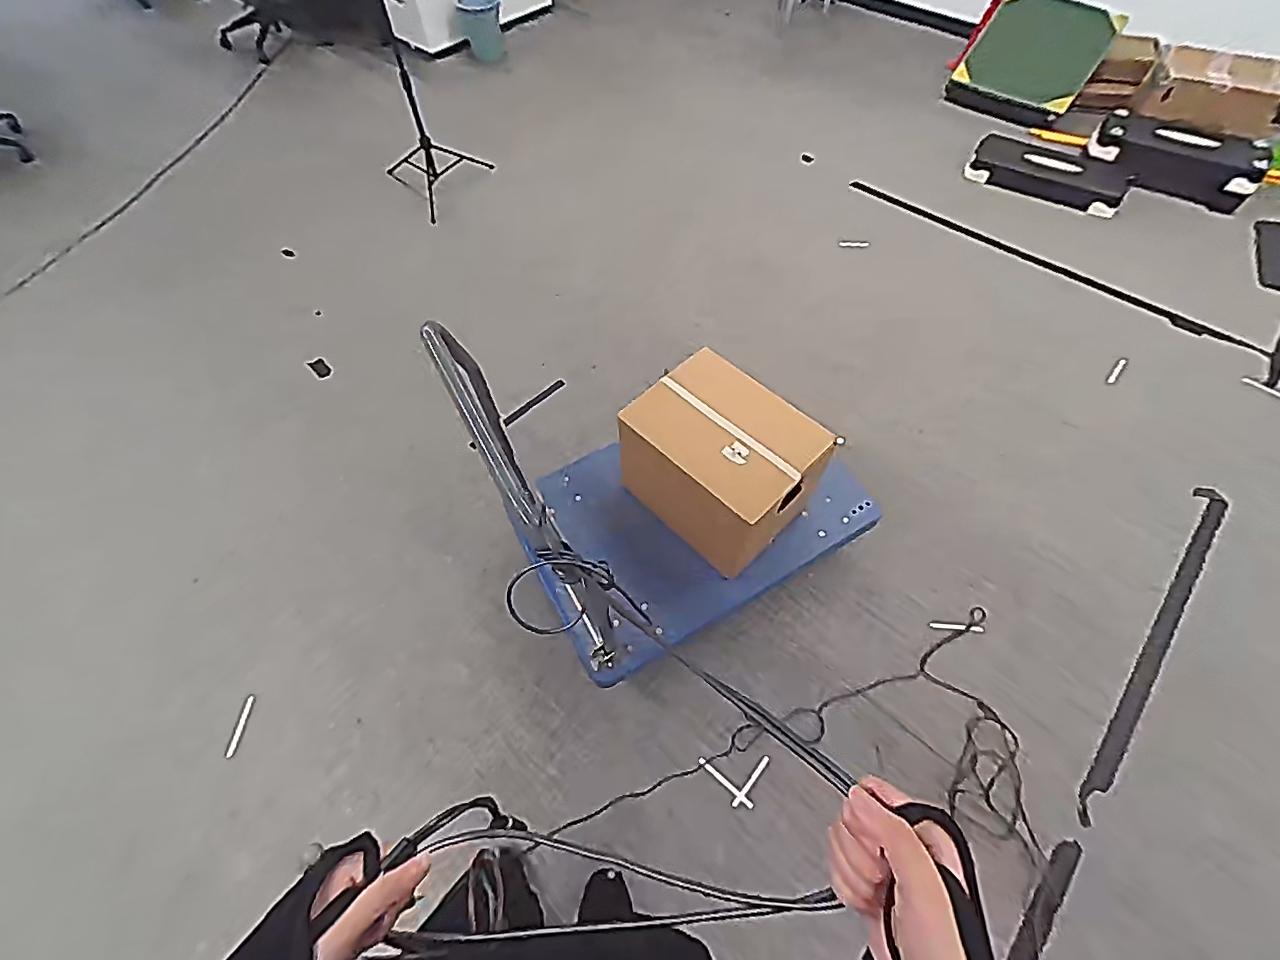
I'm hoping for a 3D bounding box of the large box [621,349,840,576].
[{"bbox_3d":[0.198,-0.041,1.341,0.320,0.320,0.408,-40,67,-21],"label":"large box"}]
